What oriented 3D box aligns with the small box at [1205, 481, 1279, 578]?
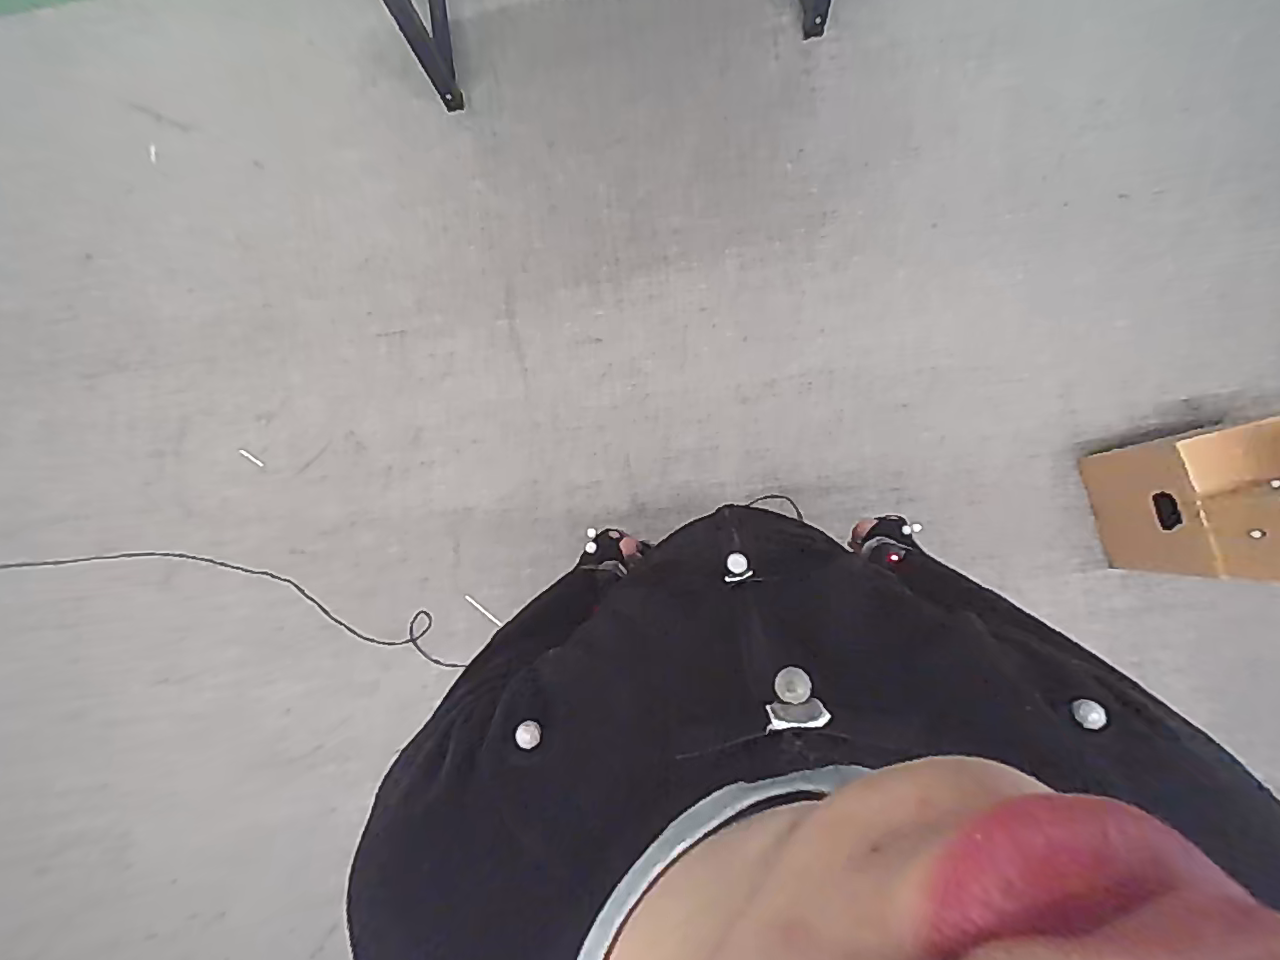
[{"bbox_3d":[1.304,0.096,1.078,0.168,0.176,0.179,-16,86,4],"label":"small box"}]
